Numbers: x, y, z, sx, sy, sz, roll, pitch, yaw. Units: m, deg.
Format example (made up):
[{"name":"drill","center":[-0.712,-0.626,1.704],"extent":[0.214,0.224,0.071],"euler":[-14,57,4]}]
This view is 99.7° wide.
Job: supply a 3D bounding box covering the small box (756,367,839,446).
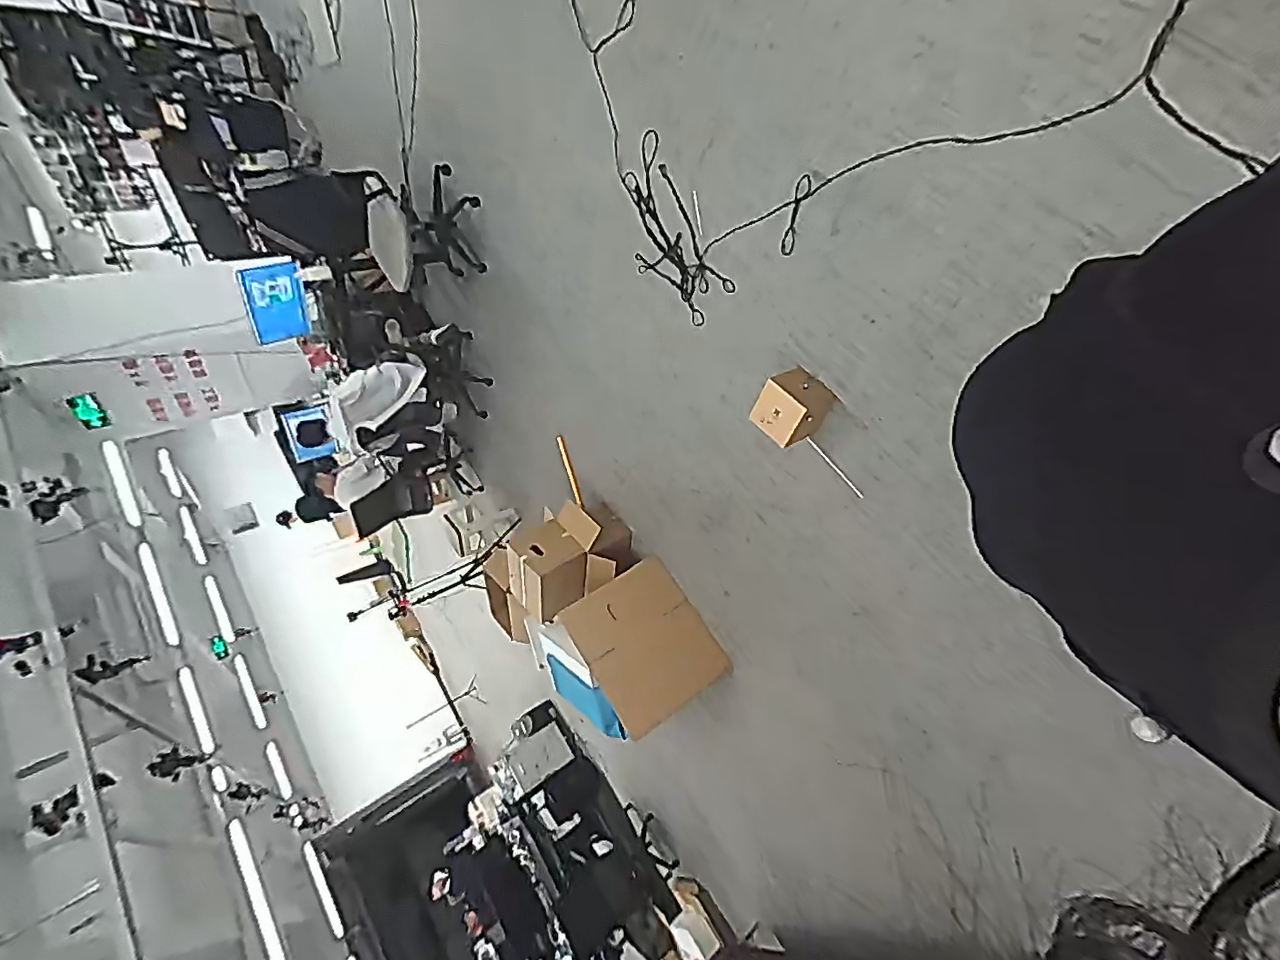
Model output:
[{"name":"small box","center":[0.517,-0.245,1.767],"extent":[0.168,0.176,0.179],"euler":[48,144,25]}]
